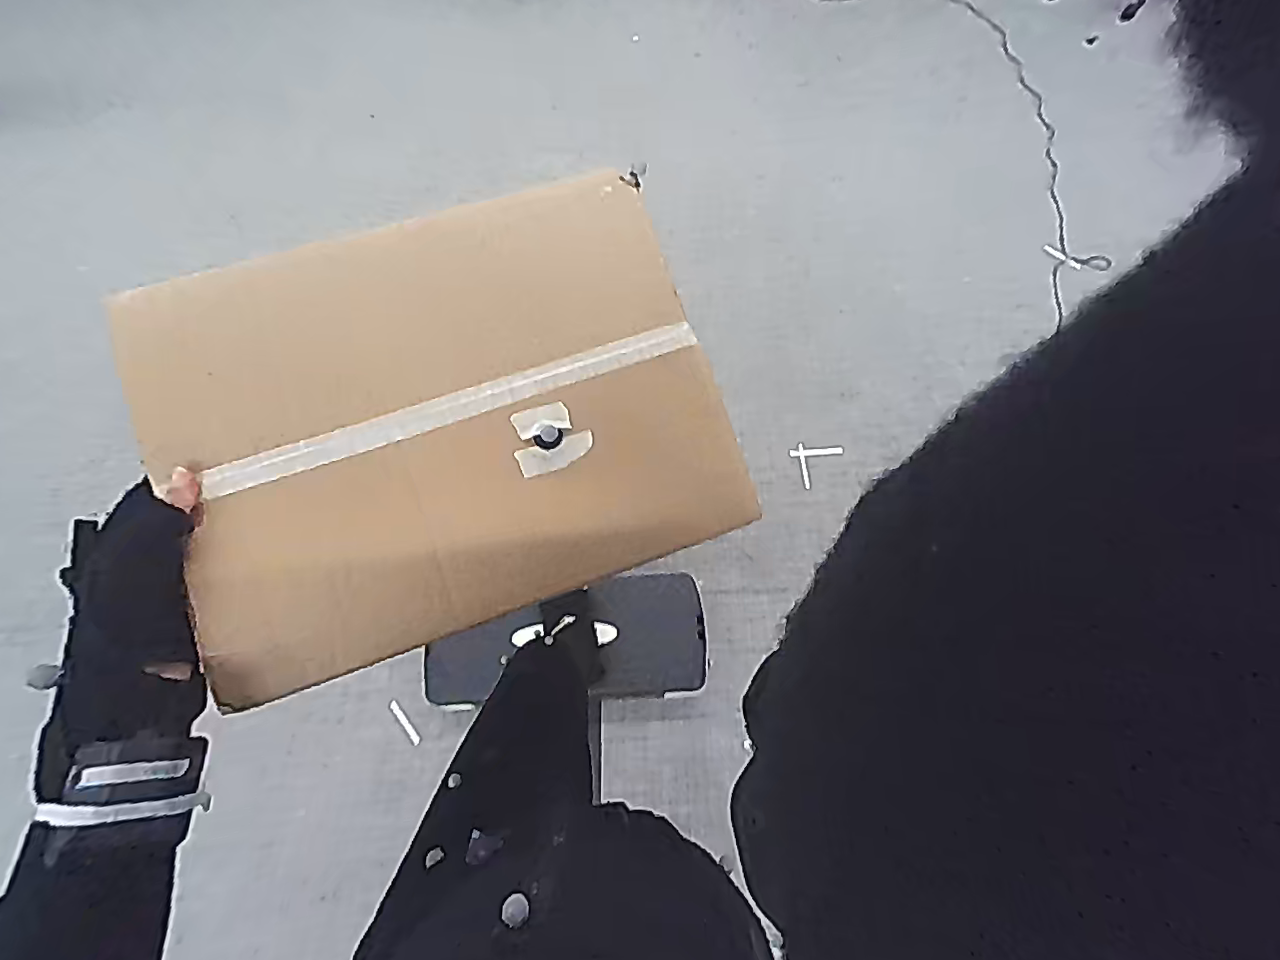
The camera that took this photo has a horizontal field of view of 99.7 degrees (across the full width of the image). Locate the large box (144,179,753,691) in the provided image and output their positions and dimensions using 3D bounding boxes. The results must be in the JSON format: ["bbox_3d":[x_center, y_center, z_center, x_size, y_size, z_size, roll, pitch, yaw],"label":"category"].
[{"bbox_3d":[-0.159,-0.033,0.567,0.408,0.320,0.320,-19,85,-9],"label":"large box"}]
